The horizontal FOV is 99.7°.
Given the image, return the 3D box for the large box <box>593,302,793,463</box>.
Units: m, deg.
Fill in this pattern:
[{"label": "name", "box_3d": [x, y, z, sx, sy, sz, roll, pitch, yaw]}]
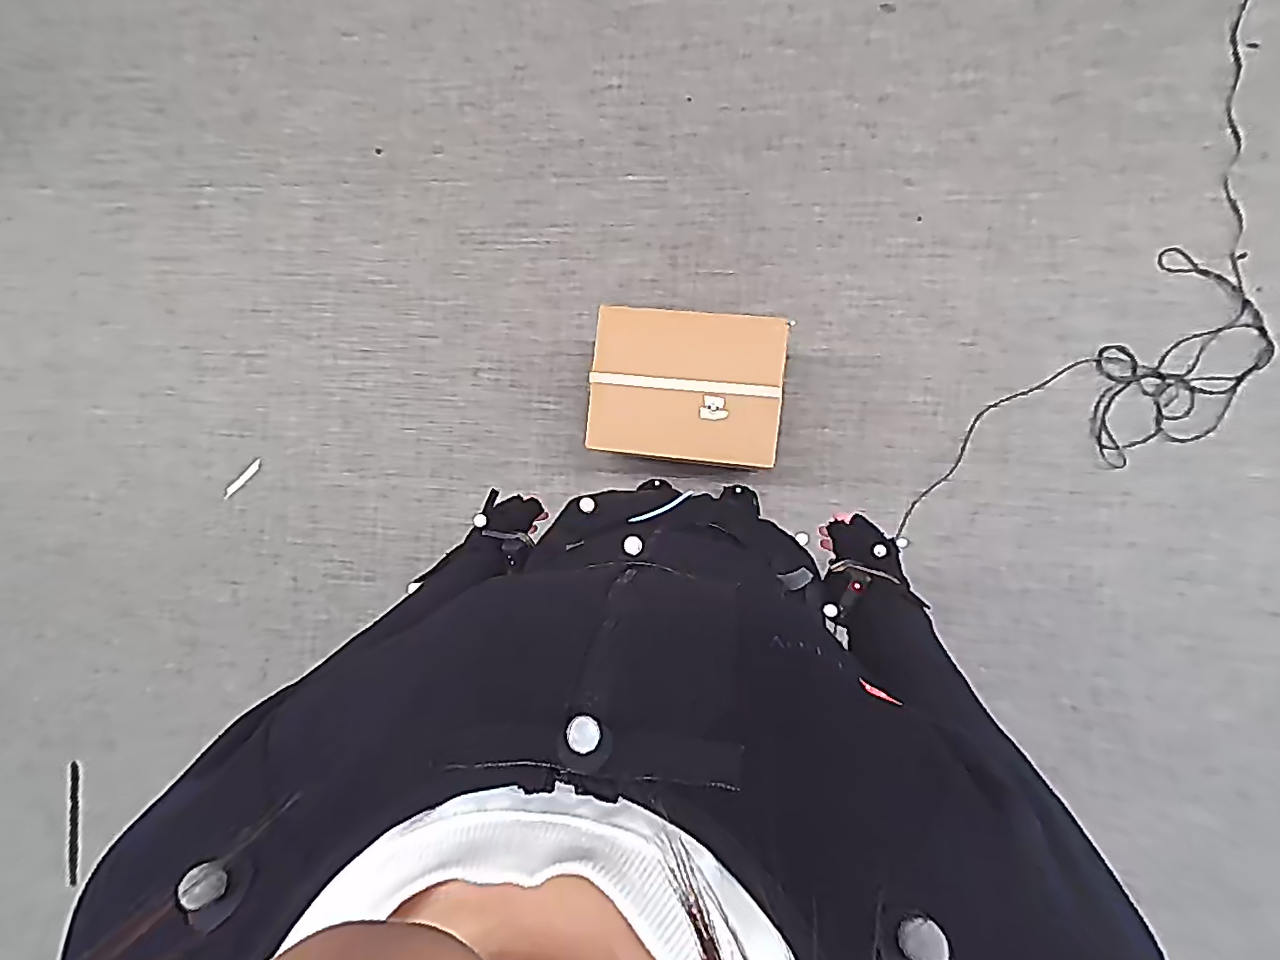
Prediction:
[{"label": "large box", "box_3d": [0.123, -0.213, 1.292, 0.408, 0.320, 0.320, 6, 92, 7]}]
